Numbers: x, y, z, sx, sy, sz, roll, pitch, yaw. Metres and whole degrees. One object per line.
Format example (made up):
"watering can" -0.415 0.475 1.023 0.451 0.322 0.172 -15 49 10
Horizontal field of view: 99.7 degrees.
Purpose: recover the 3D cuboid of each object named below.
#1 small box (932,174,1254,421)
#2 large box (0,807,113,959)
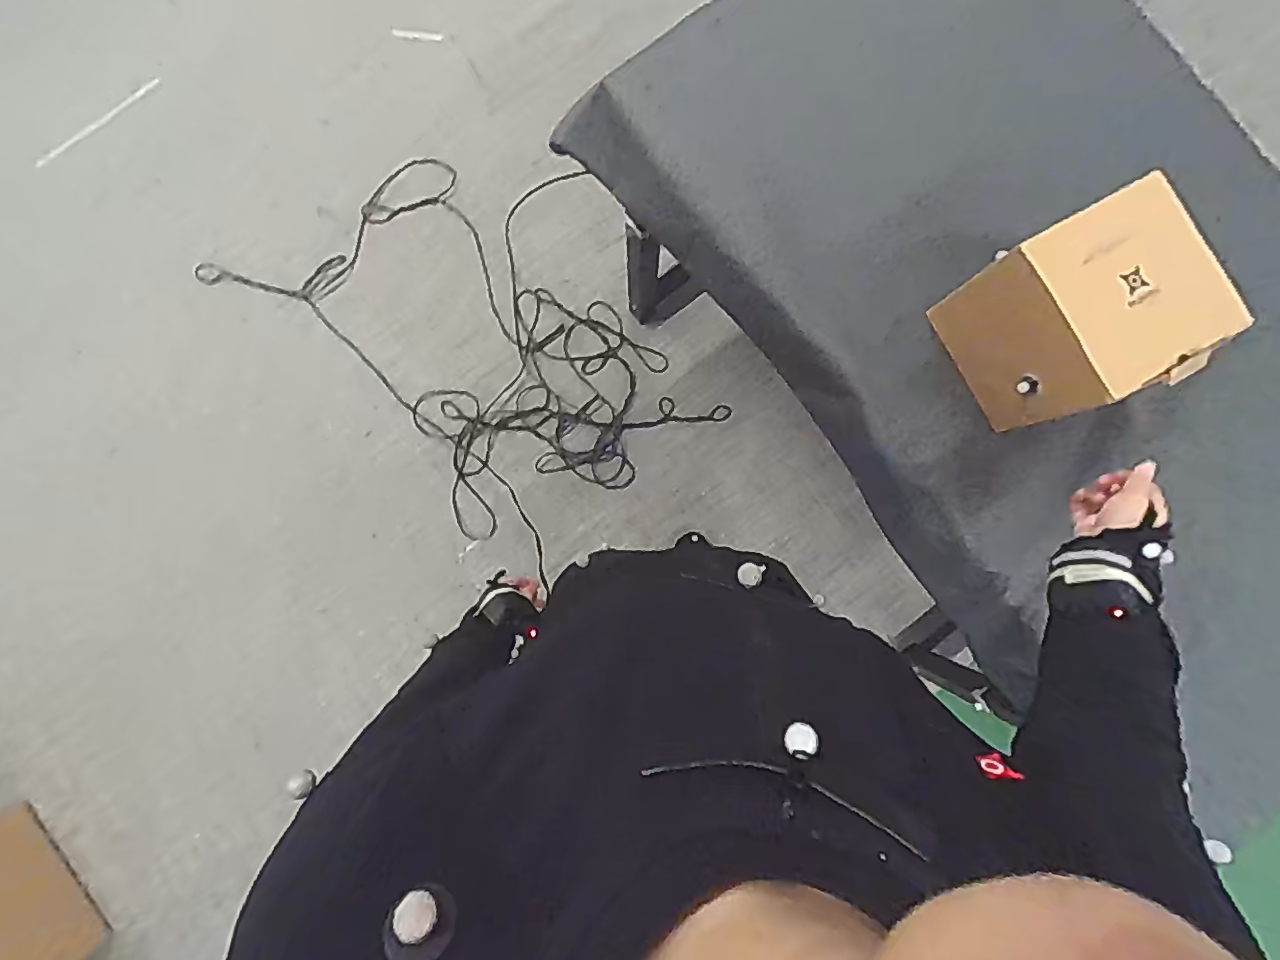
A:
"small box" 0.471 -0.178 0.594 0.168 0.176 0.179 -29 85 -4
"large box" -1.491 1.023 1.148 0.320 0.320 0.408 -38 85 -4
